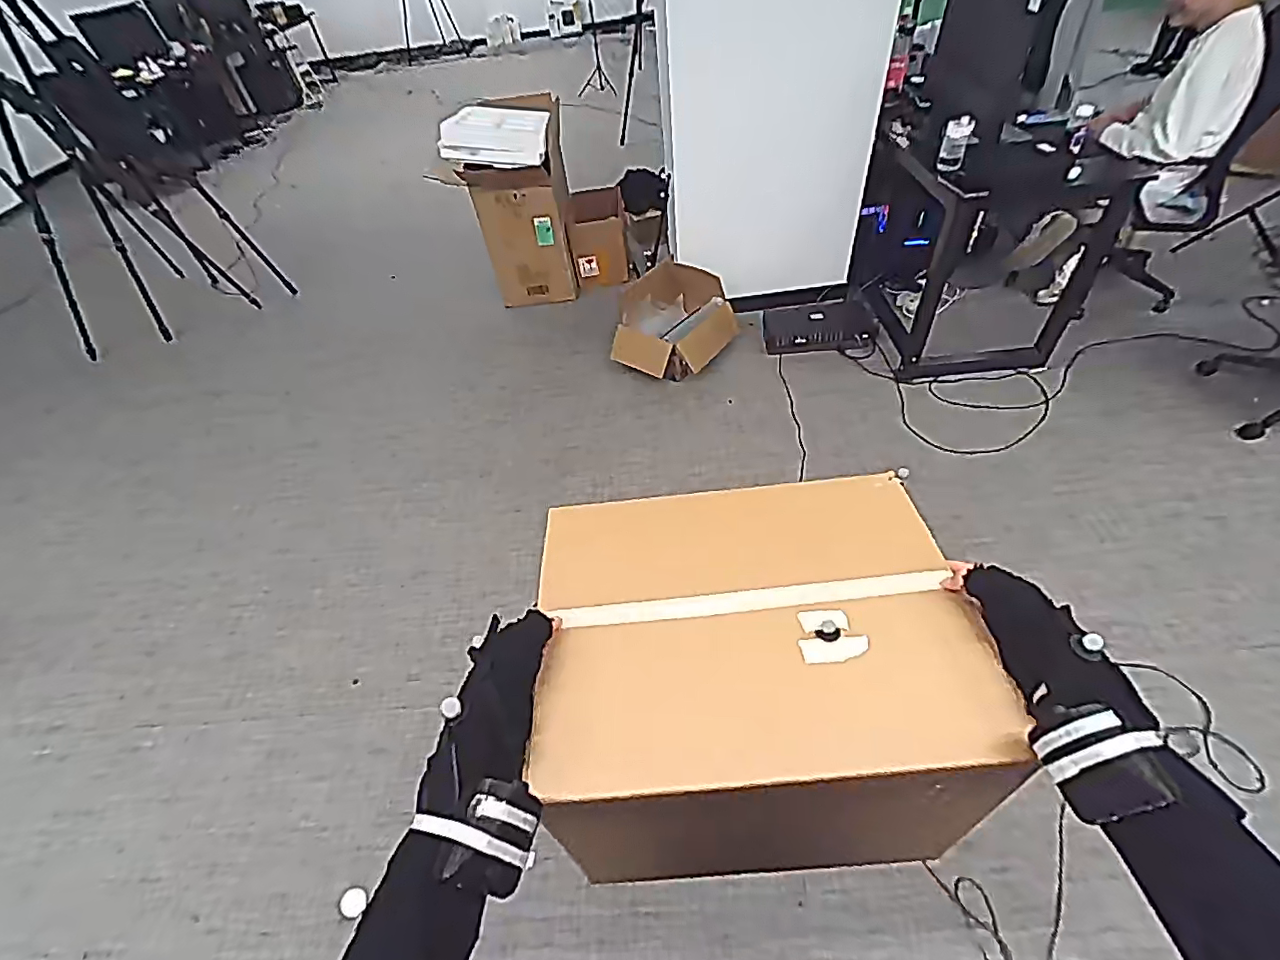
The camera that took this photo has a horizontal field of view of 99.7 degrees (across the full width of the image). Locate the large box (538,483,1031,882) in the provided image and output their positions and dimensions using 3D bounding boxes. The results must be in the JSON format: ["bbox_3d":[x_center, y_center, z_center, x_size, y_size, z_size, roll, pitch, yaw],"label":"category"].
[{"bbox_3d":[0.119,0.237,0.637,0.408,0.320,0.320,-6,43,2],"label":"large box"}]
